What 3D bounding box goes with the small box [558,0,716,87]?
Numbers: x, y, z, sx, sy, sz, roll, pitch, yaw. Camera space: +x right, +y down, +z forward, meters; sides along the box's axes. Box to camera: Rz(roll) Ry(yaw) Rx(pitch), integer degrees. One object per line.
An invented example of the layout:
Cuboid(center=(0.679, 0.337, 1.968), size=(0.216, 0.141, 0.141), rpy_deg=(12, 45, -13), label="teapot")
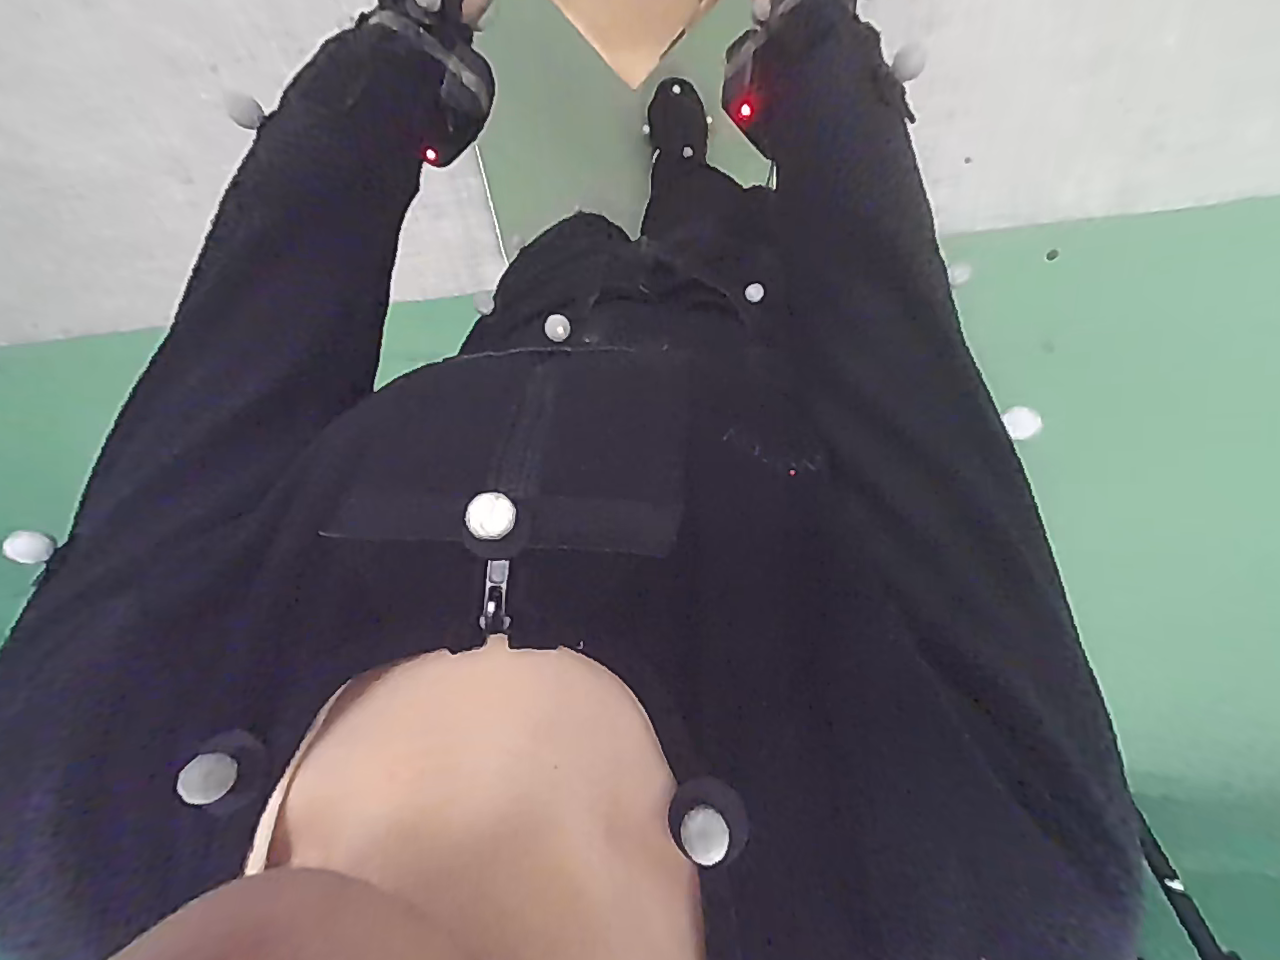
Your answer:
Cuboid(center=(-0.005, -0.470, 0.416), size=(0.179, 0.176, 0.168), rpy_deg=(30, 135, -35), label="small box")
